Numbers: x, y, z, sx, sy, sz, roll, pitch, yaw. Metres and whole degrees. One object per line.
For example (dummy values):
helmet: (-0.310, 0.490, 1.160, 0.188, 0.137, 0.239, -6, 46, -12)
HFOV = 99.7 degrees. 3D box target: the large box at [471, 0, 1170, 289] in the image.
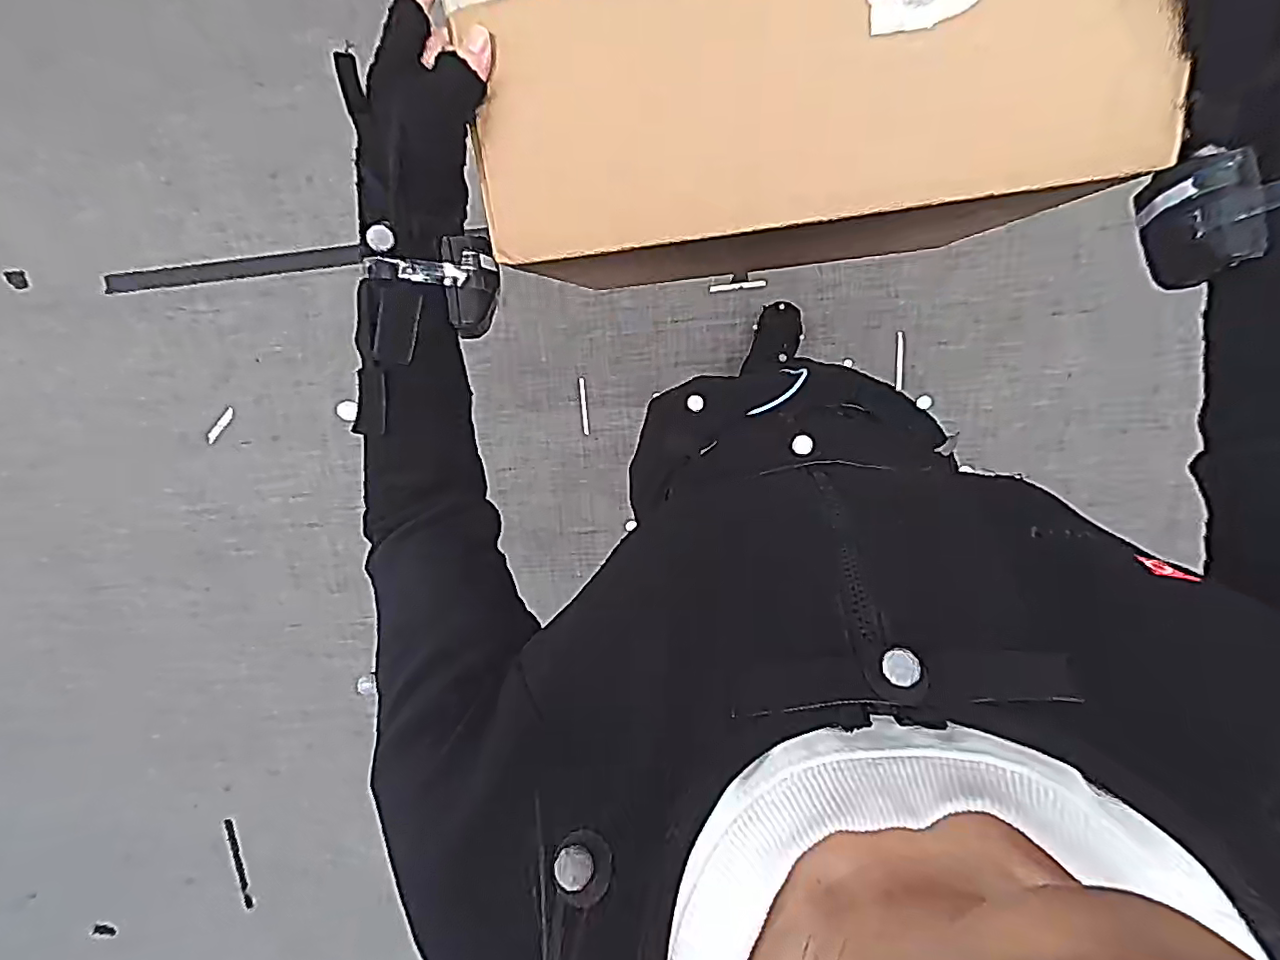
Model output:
large box: (0.103, -0.359, 0.451, 0.408, 0.320, 0.320, -5, 106, 8)
